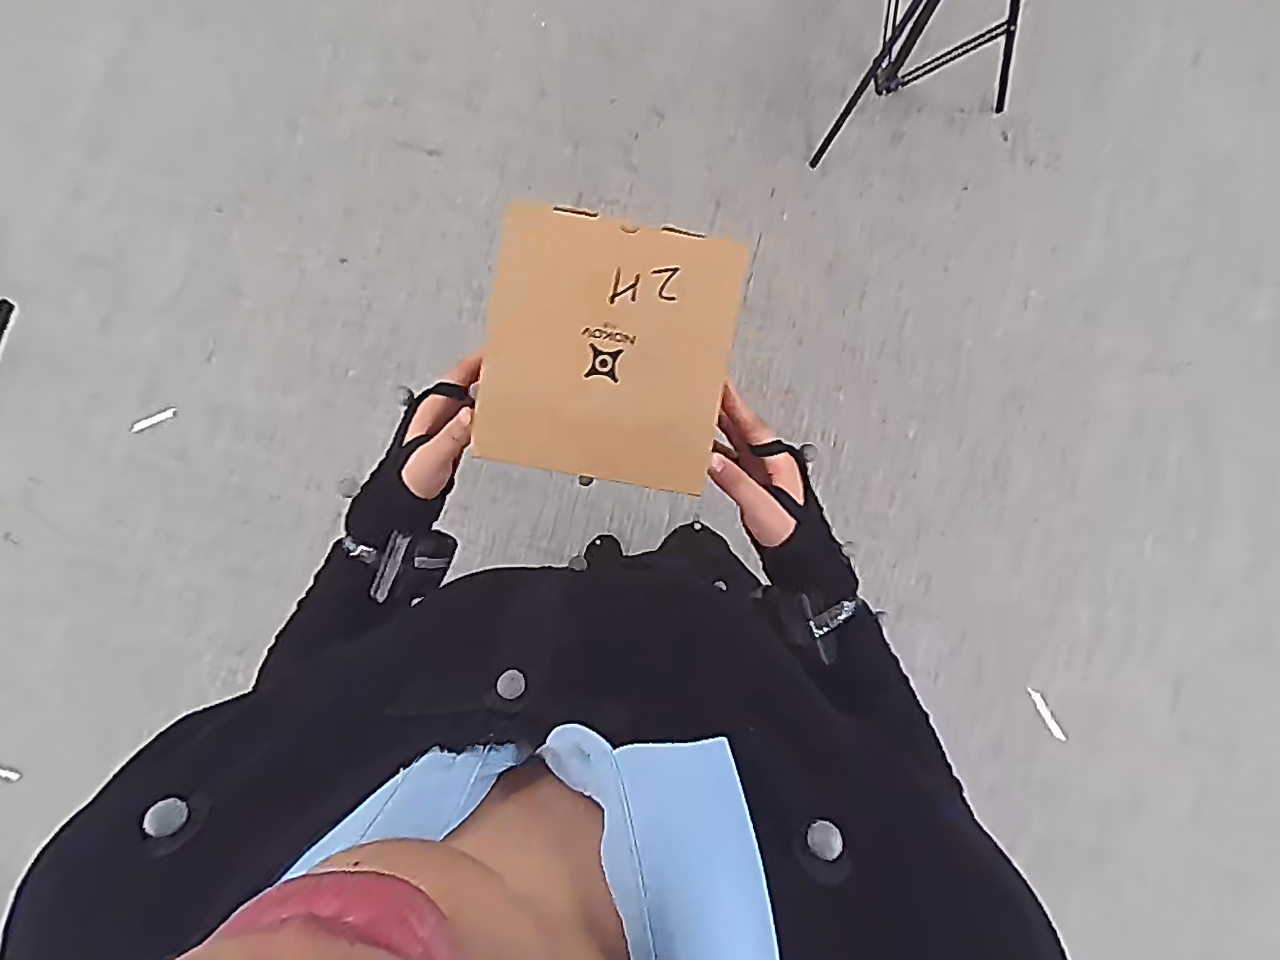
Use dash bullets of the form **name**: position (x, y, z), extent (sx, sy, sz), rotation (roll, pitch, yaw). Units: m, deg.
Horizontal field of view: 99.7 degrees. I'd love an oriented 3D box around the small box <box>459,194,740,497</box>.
- **small box**: position (-0.029, -0.093, 0.438), extent (0.168, 0.176, 0.179), rotation (10, 94, -2)
